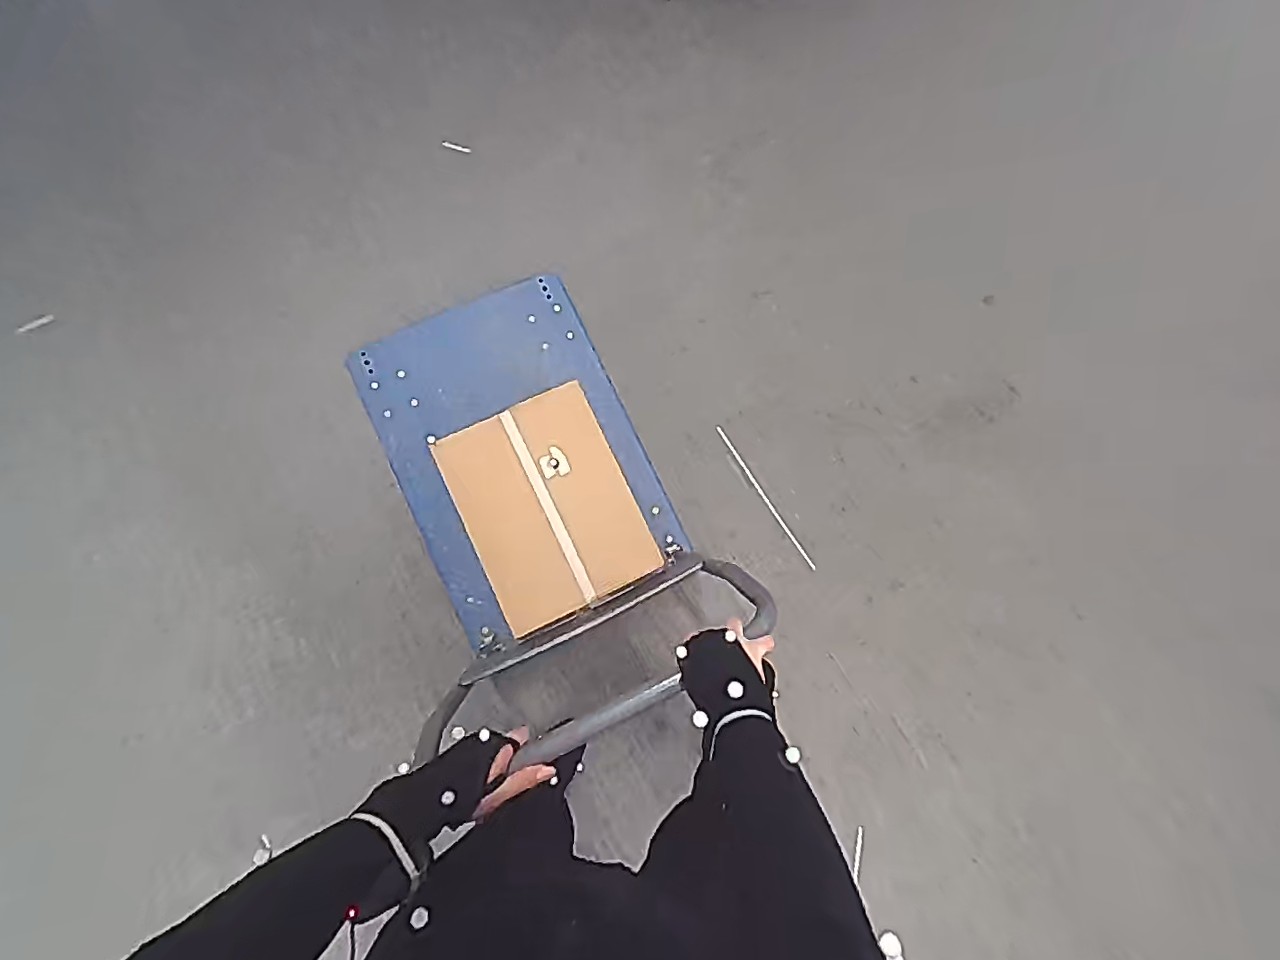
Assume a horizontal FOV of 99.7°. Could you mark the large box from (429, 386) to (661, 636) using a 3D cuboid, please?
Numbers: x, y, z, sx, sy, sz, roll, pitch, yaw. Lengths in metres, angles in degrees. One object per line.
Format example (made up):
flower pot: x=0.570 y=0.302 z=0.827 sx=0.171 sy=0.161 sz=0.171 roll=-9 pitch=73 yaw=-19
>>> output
large box: x=-0.191 y=0.074 z=1.183 sx=0.320 sy=0.320 sz=0.408 roll=-26 pitch=84 yaw=-8
